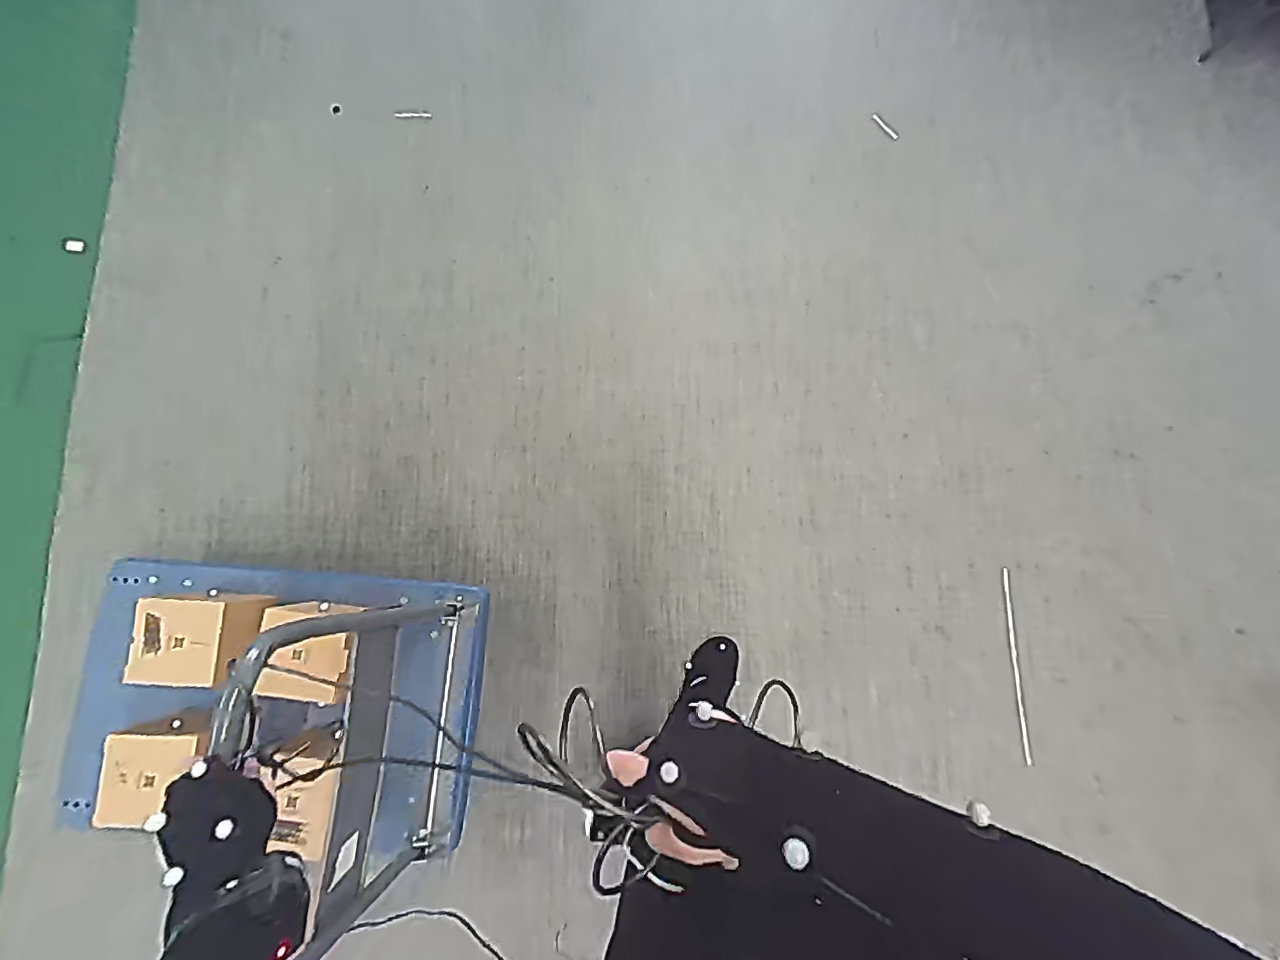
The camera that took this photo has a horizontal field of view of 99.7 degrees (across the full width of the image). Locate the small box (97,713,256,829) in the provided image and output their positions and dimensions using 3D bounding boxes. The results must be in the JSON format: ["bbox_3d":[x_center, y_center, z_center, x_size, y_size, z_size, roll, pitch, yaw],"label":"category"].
[{"bbox_3d":[-0.933,0.585,1.107,0.179,0.176,0.168,1,81,0],"label":"small box"}]

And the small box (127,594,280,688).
[{"bbox_3d":[-0.912,0.332,1.144,0.179,0.176,0.168,3,82,0],"label":"small box"}]

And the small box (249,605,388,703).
[{"bbox_3d":[-0.668,0.358,1.144,0.179,0.176,0.168,6,81,0],"label":"small box"}]
